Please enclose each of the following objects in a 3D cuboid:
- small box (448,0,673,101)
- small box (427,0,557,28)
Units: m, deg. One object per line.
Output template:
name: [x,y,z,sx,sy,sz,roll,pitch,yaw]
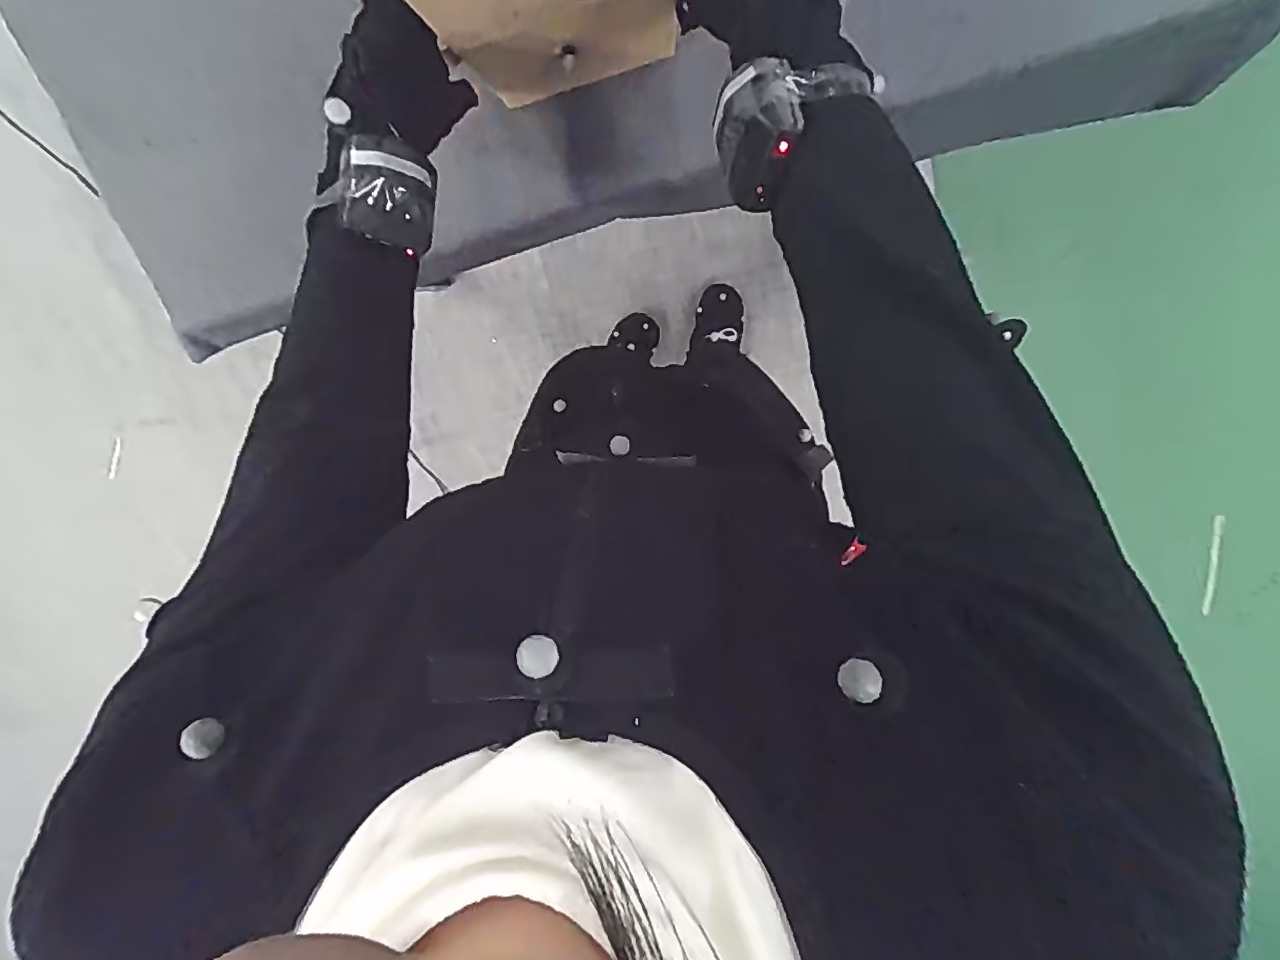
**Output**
small box: [-0.072,-0.450,0.446,0.179,0.176,0.168,-12,109,8]
small box: [-0.084,-0.393,0.294,0.168,0.176,0.179,-14,109,8]
